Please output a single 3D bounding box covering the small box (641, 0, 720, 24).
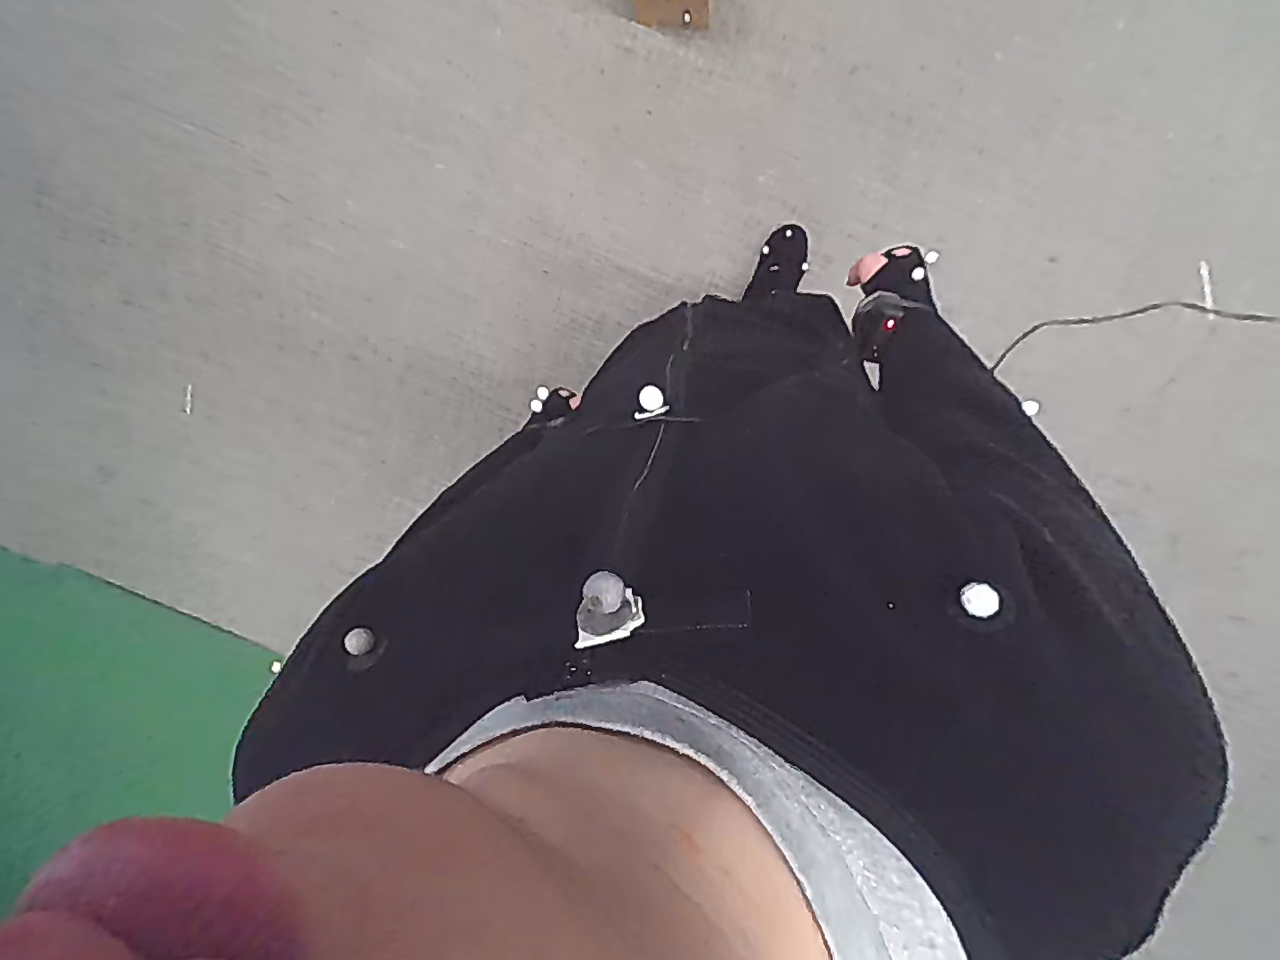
[{"bbox_3d":[0.089,-1.075,1.103,0.168,0.176,0.179,10,111,5],"label":"small box"}]
